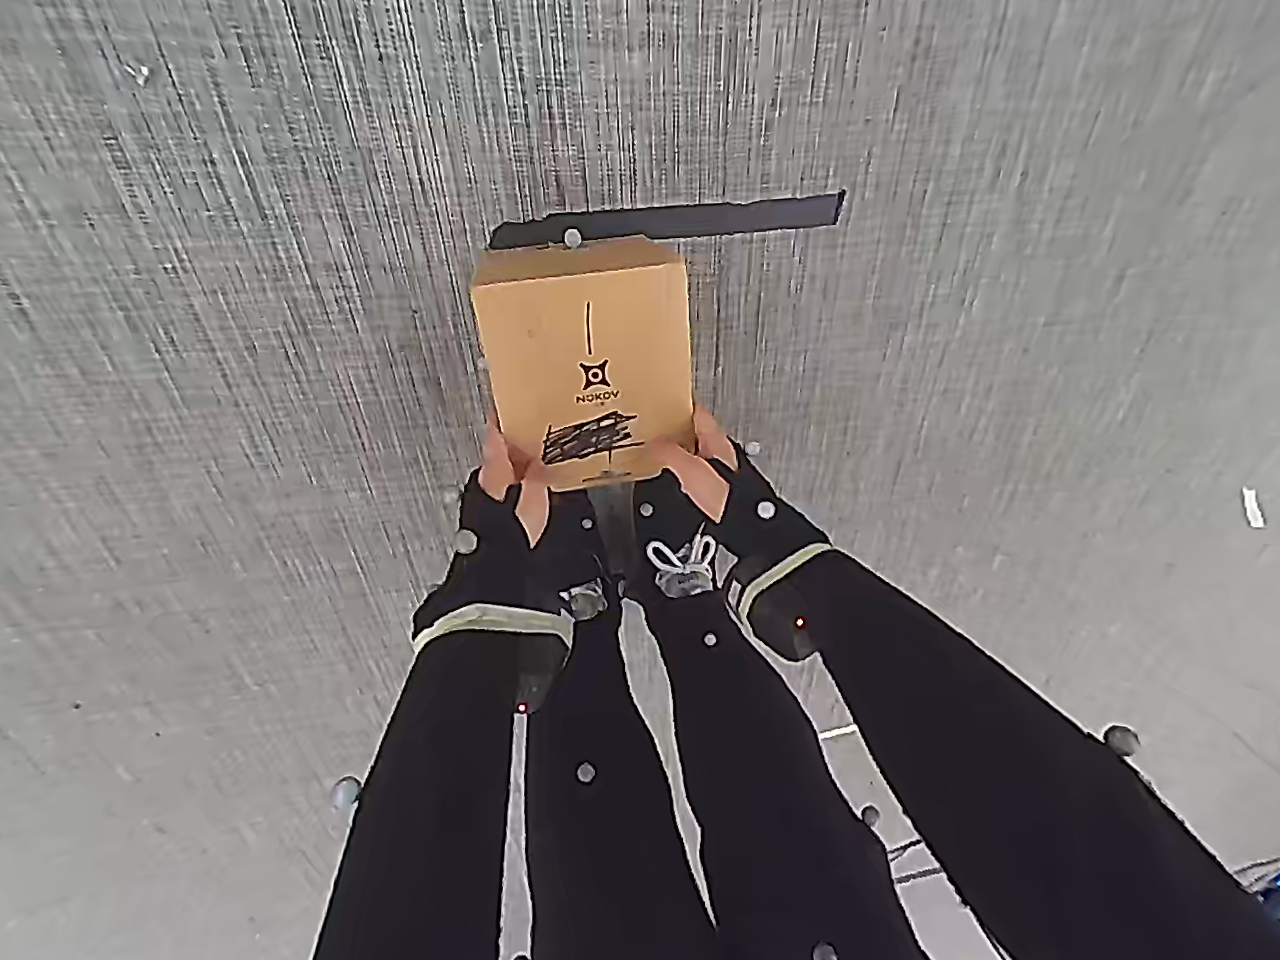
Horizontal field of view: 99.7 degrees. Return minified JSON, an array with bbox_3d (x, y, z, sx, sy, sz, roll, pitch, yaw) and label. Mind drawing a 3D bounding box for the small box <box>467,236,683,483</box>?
[{"bbox_3d":[-0.058,-0.122,0.517,0.168,0.176,0.179,-9,122,-8],"label":"small box"}]
